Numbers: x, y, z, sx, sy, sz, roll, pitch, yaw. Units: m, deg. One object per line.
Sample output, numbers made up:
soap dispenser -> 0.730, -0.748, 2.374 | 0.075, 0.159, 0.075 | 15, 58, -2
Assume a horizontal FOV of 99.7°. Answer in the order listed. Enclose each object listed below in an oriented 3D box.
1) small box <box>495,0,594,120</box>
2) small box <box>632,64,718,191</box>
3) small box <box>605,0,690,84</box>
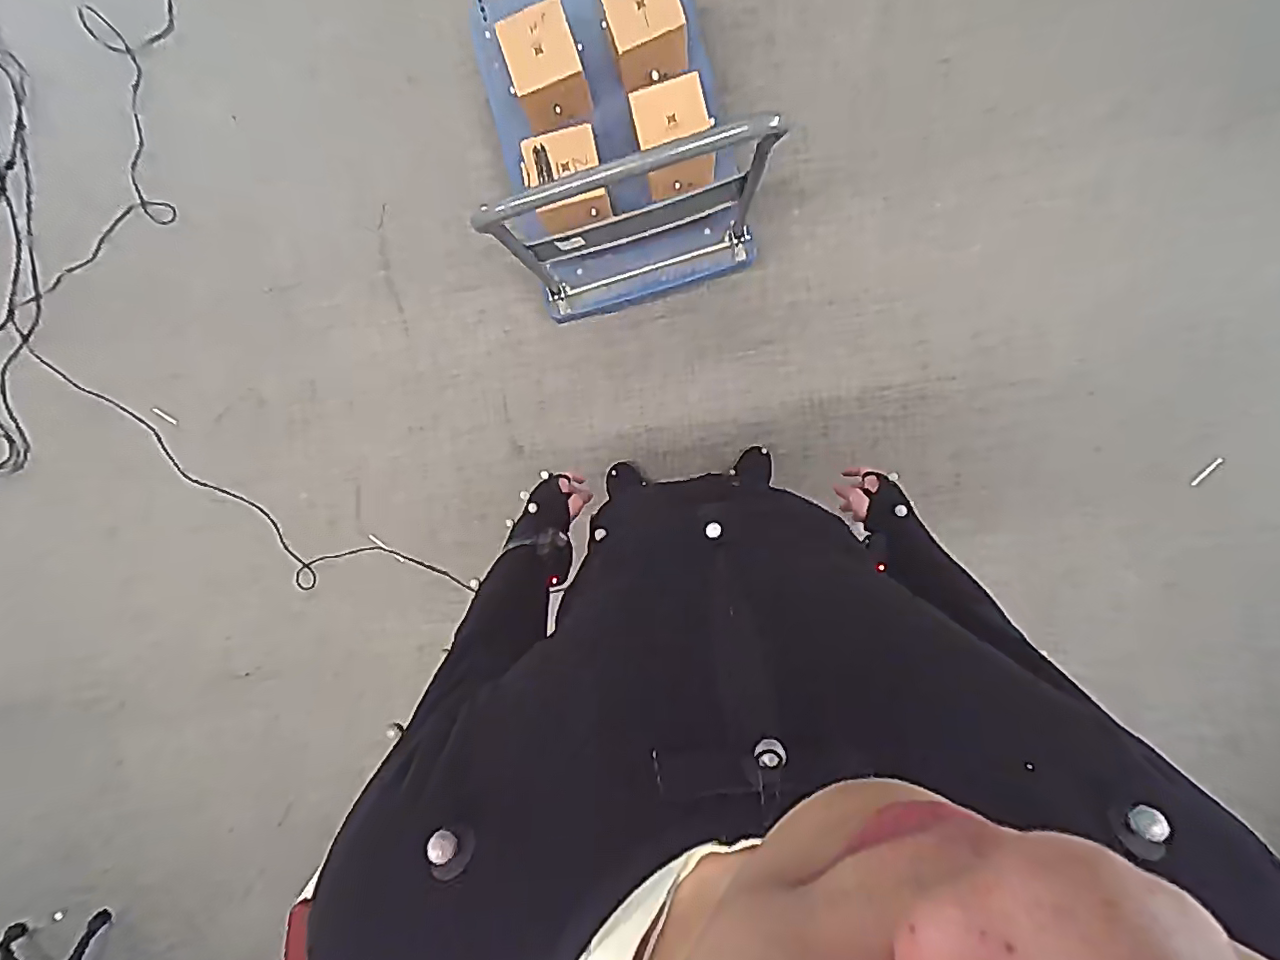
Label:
small box -> -0.223, -1.019, 1.313 | 0.168, 0.176, 0.179 | -18, 94, 7
small box -> 0.085, -0.837, 1.301 | 0.168, 0.176, 0.179 | -13, 94, 7
small box -> 0.015, -1.097, 1.280 | 0.168, 0.176, 0.179 | -18, 95, 8
